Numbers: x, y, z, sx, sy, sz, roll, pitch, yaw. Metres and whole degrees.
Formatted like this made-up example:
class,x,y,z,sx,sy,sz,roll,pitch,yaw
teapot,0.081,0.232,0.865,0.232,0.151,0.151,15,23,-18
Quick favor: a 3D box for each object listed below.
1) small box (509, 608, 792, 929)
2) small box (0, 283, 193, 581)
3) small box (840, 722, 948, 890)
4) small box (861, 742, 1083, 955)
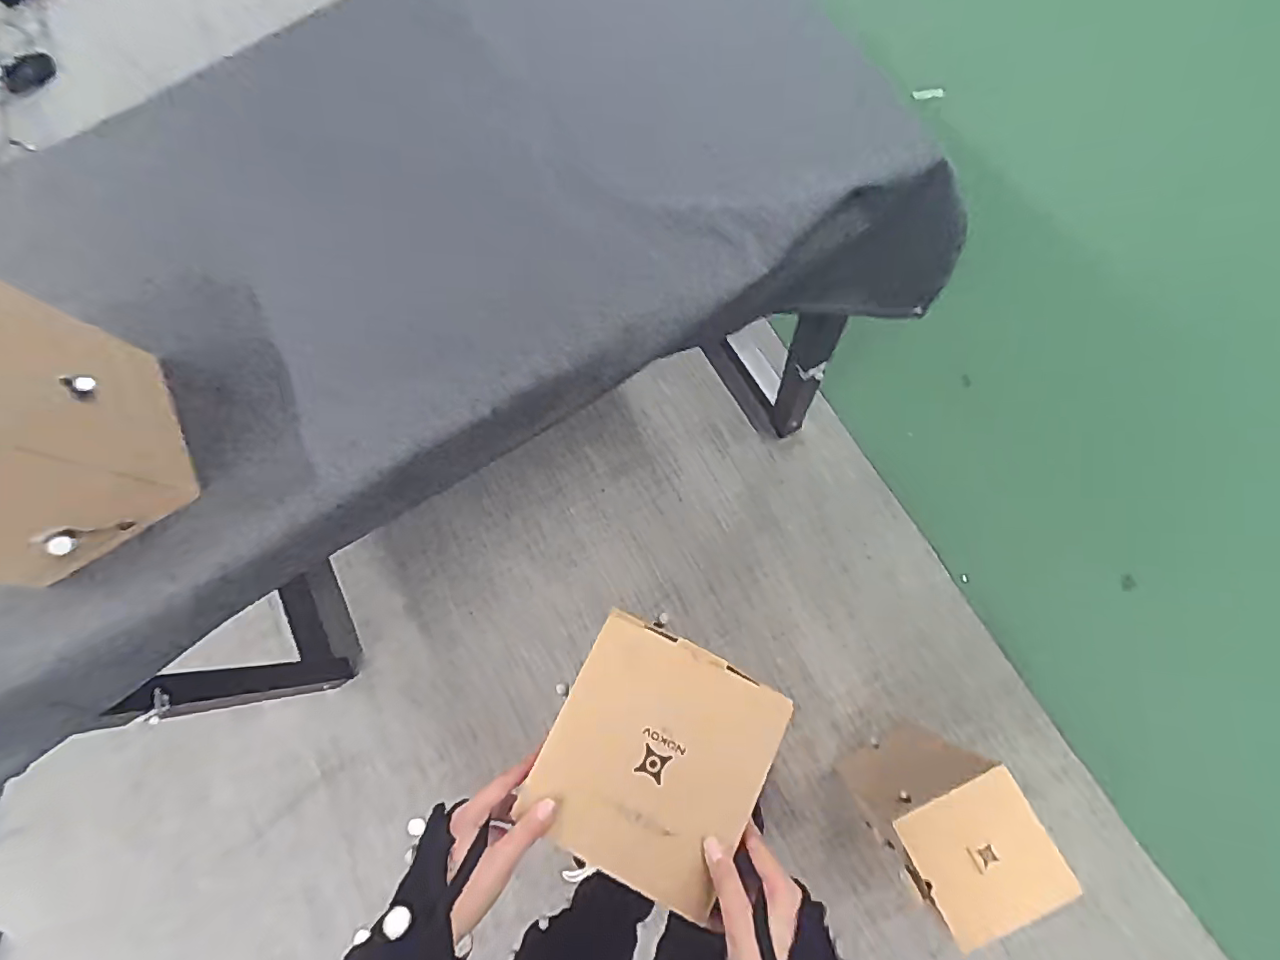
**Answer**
class,x,y,z,sx,sy,sz,roll,pitch,yaw
small box,0.010,0.228,0.486,0.168,0.176,0.179,25,79,6
small box,-0.529,-0.034,0.444,0.168,0.176,0.179,-31,74,-2
small box,0.465,0.543,0.925,0.179,0.176,0.168,-29,73,0
small box,0.449,0.501,0.767,0.179,0.176,0.168,-27,74,-1
